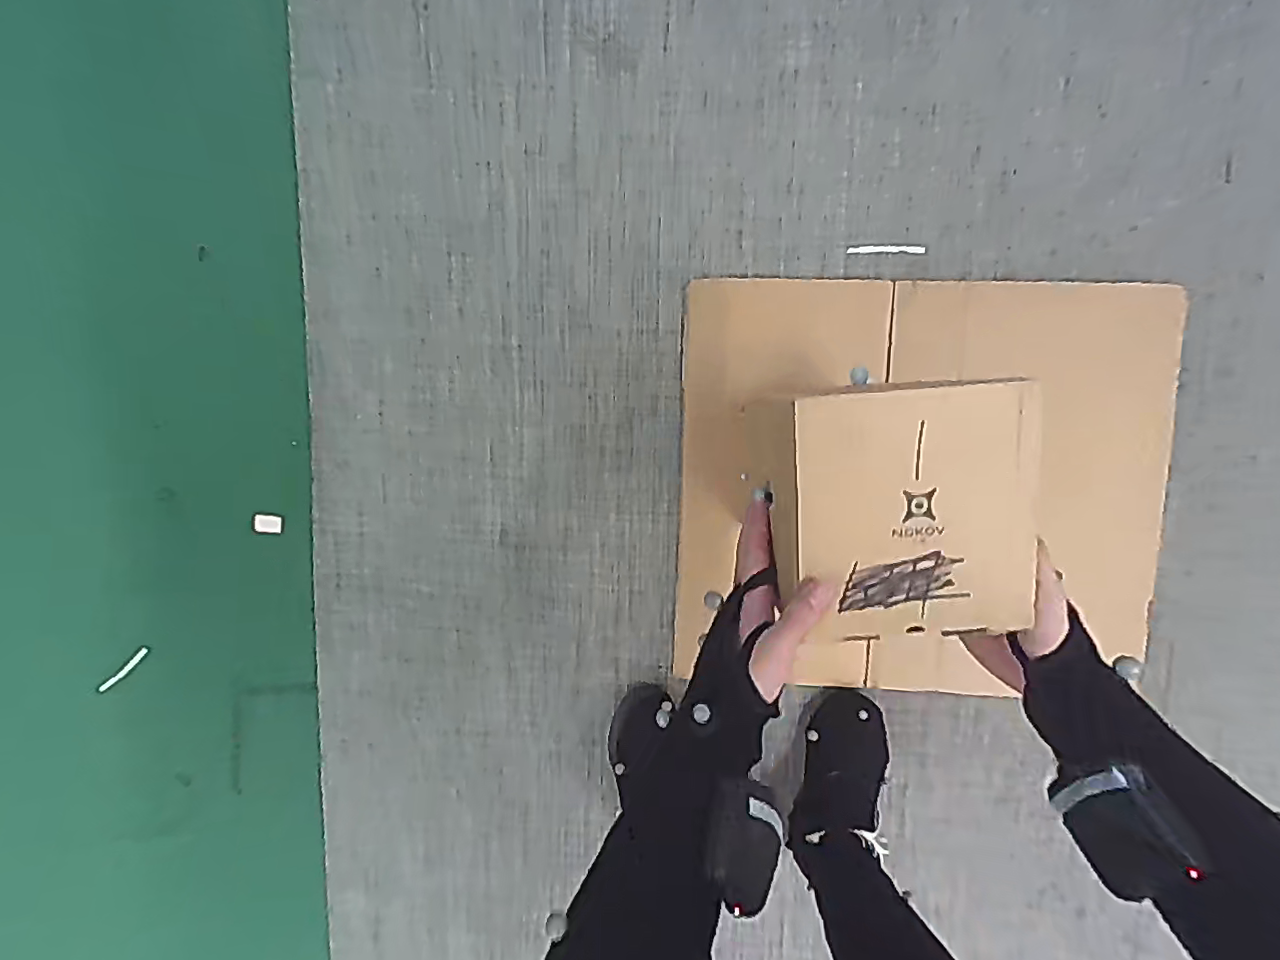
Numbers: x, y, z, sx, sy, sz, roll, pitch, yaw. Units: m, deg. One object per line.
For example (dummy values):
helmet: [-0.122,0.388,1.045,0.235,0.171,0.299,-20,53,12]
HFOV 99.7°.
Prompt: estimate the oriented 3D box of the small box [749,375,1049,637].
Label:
small box: [0.187,0.008,0.442,0.168,0.176,0.179,-4,99,1]
